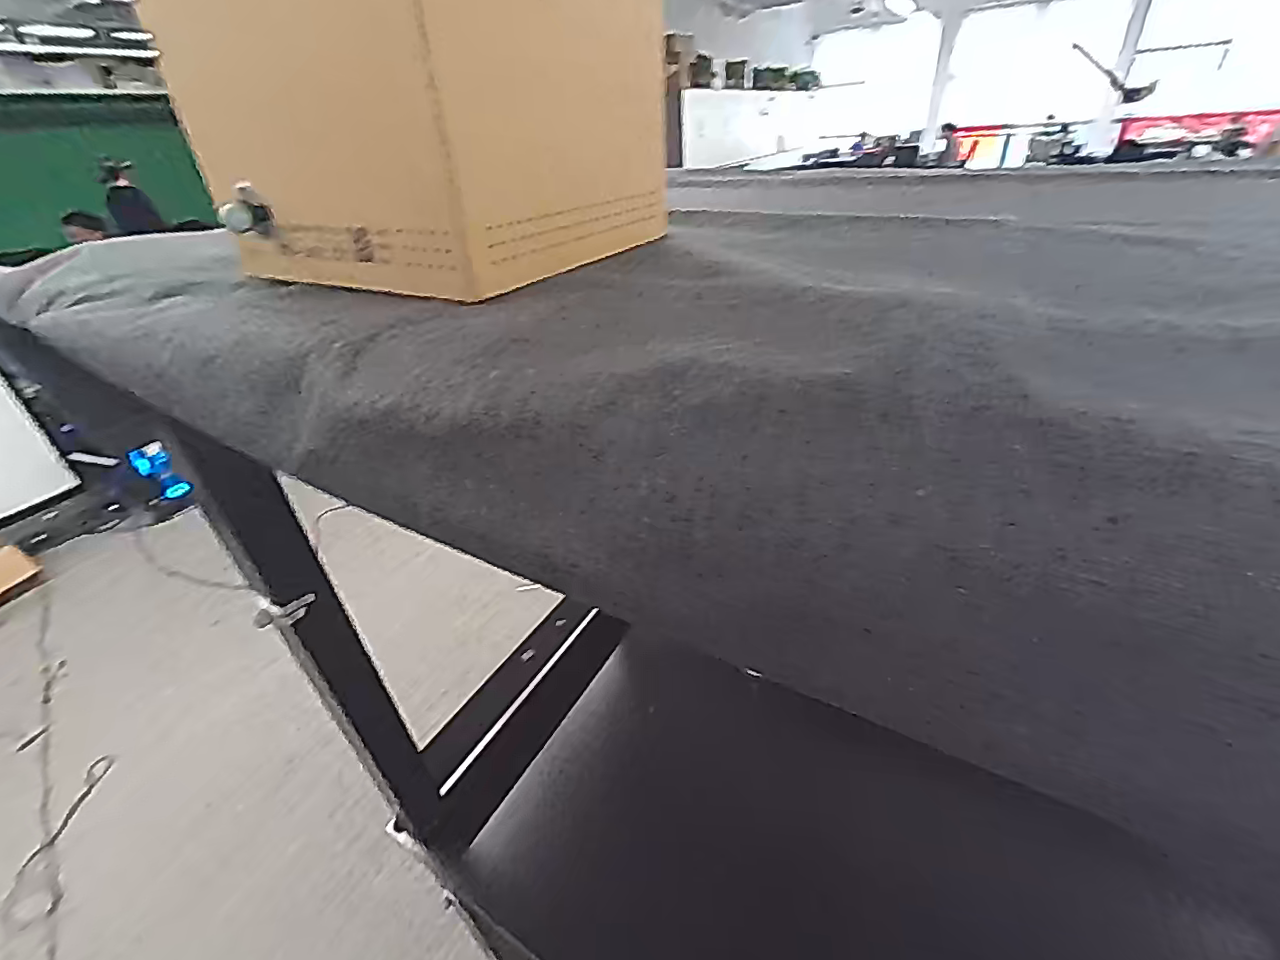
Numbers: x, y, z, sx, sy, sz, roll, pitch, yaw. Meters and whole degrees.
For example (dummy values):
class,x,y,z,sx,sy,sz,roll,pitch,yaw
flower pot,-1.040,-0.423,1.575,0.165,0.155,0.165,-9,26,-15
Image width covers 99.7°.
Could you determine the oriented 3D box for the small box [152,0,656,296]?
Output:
class,x,y,z,sx,sy,sz,roll,pitch,yaw
small box,-0.097,-0.198,0.272,0.168,0.176,0.179,15,35,25
